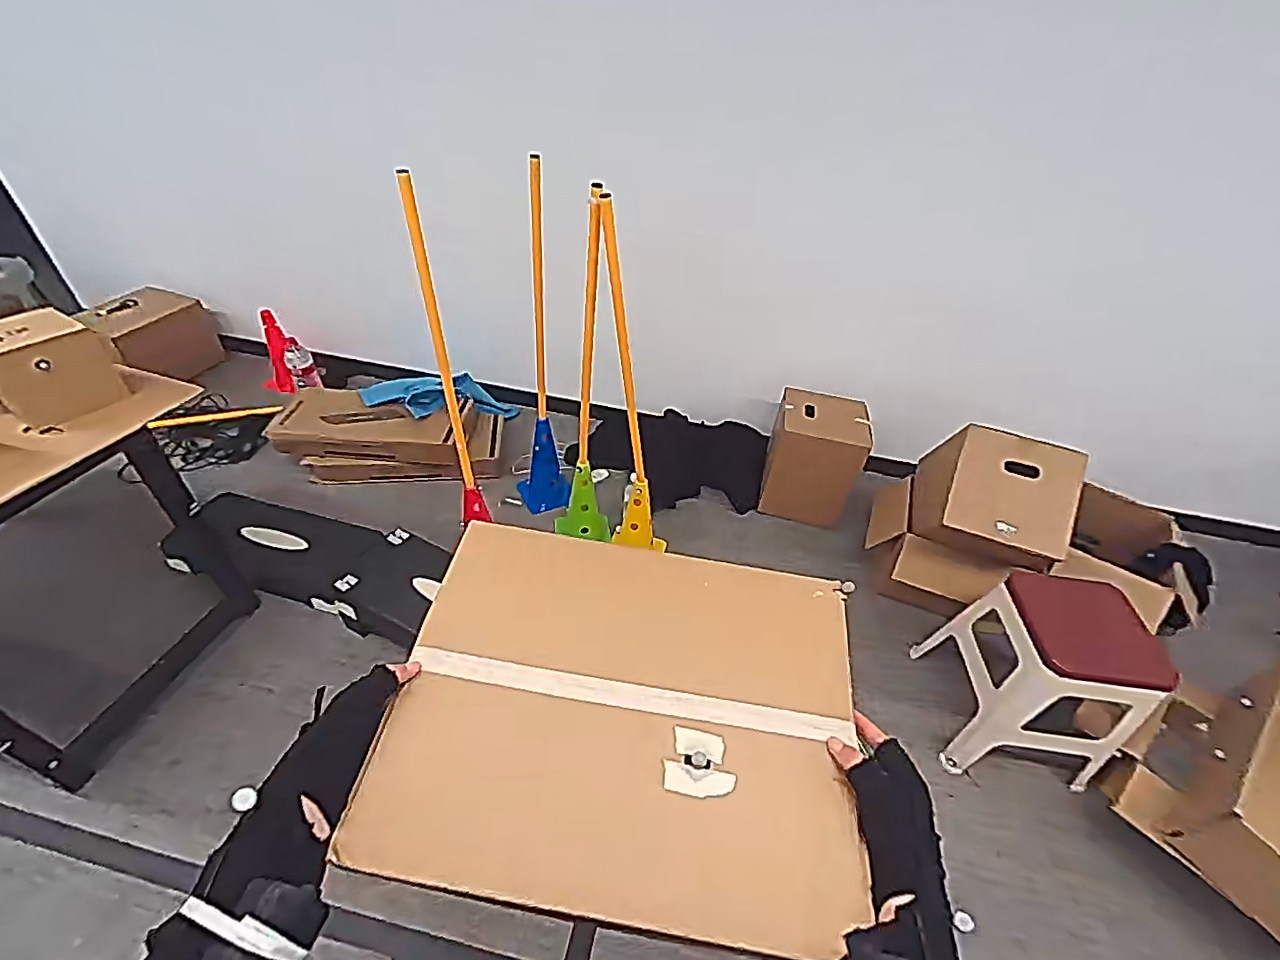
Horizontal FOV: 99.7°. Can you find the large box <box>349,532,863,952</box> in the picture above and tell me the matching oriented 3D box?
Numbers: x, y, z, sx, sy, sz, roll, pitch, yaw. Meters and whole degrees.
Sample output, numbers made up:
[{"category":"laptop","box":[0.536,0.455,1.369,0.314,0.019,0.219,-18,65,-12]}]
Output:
[{"category":"large box","box":[-0.021,0.296,0.613,0.408,0.320,0.320,10,51,3]}]
